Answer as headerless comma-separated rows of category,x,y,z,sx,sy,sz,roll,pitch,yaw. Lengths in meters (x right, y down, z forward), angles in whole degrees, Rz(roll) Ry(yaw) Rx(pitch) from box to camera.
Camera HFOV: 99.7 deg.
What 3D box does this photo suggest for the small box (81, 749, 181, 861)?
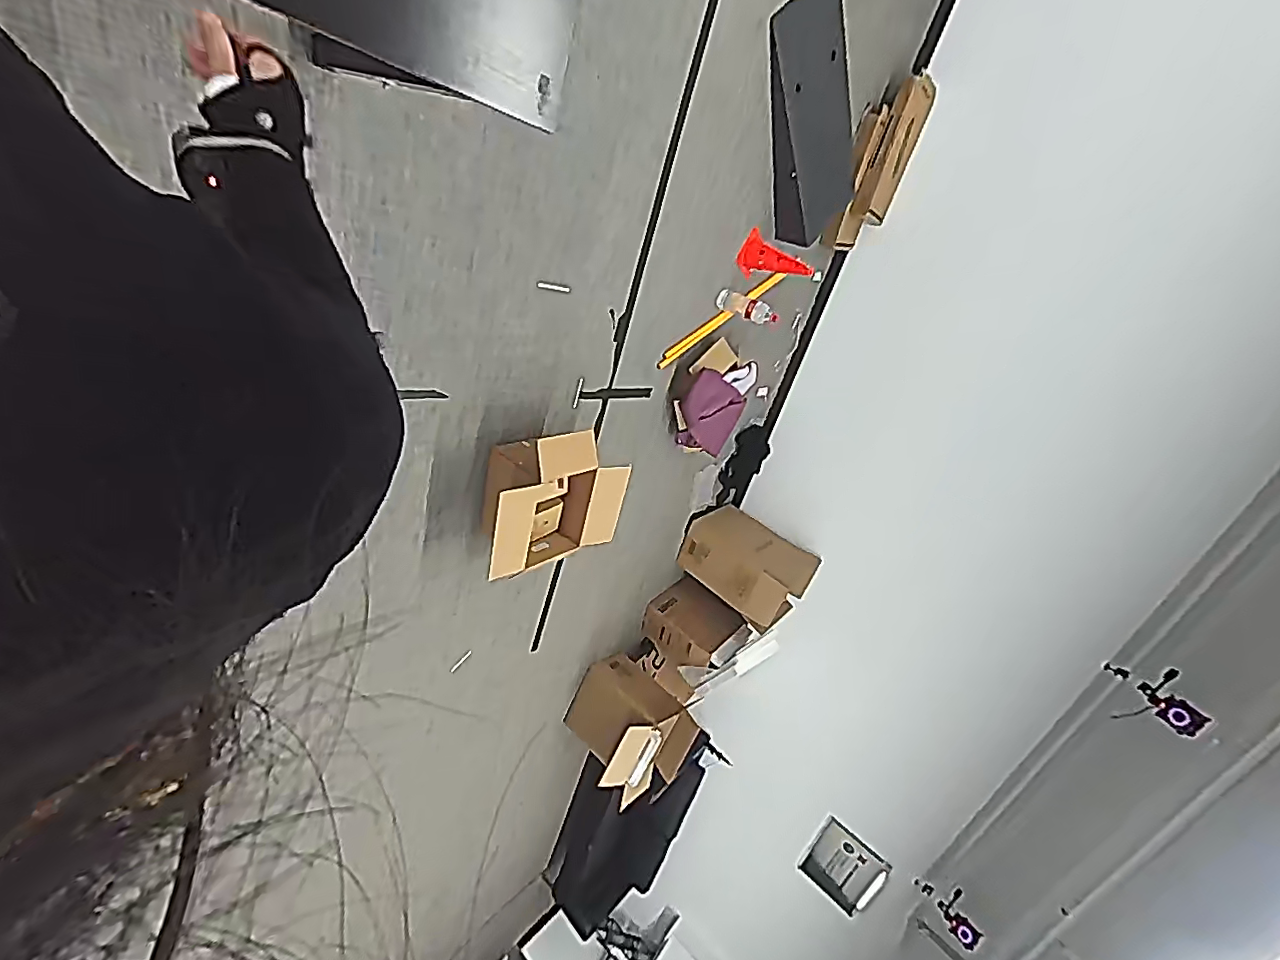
small box,-1.428,0.901,1.519,0.179,0.176,0.168,-10,124,-51
